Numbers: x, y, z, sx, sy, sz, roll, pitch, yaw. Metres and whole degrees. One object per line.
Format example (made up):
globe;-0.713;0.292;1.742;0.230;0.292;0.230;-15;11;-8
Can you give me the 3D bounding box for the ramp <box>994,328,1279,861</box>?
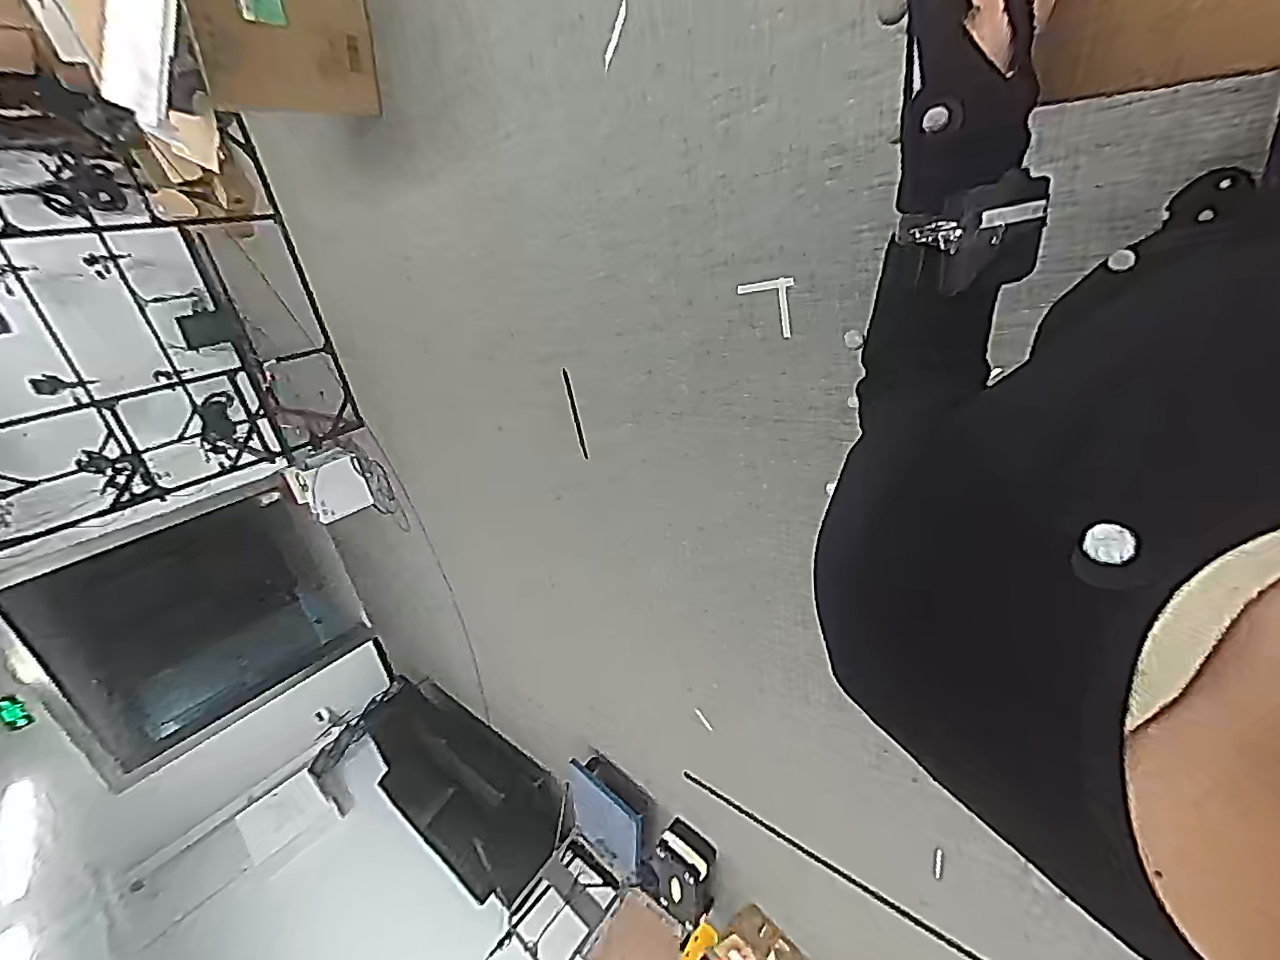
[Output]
ramp;1.041;0.218;1.069;0.509;0.206;0.991;10;120;44
